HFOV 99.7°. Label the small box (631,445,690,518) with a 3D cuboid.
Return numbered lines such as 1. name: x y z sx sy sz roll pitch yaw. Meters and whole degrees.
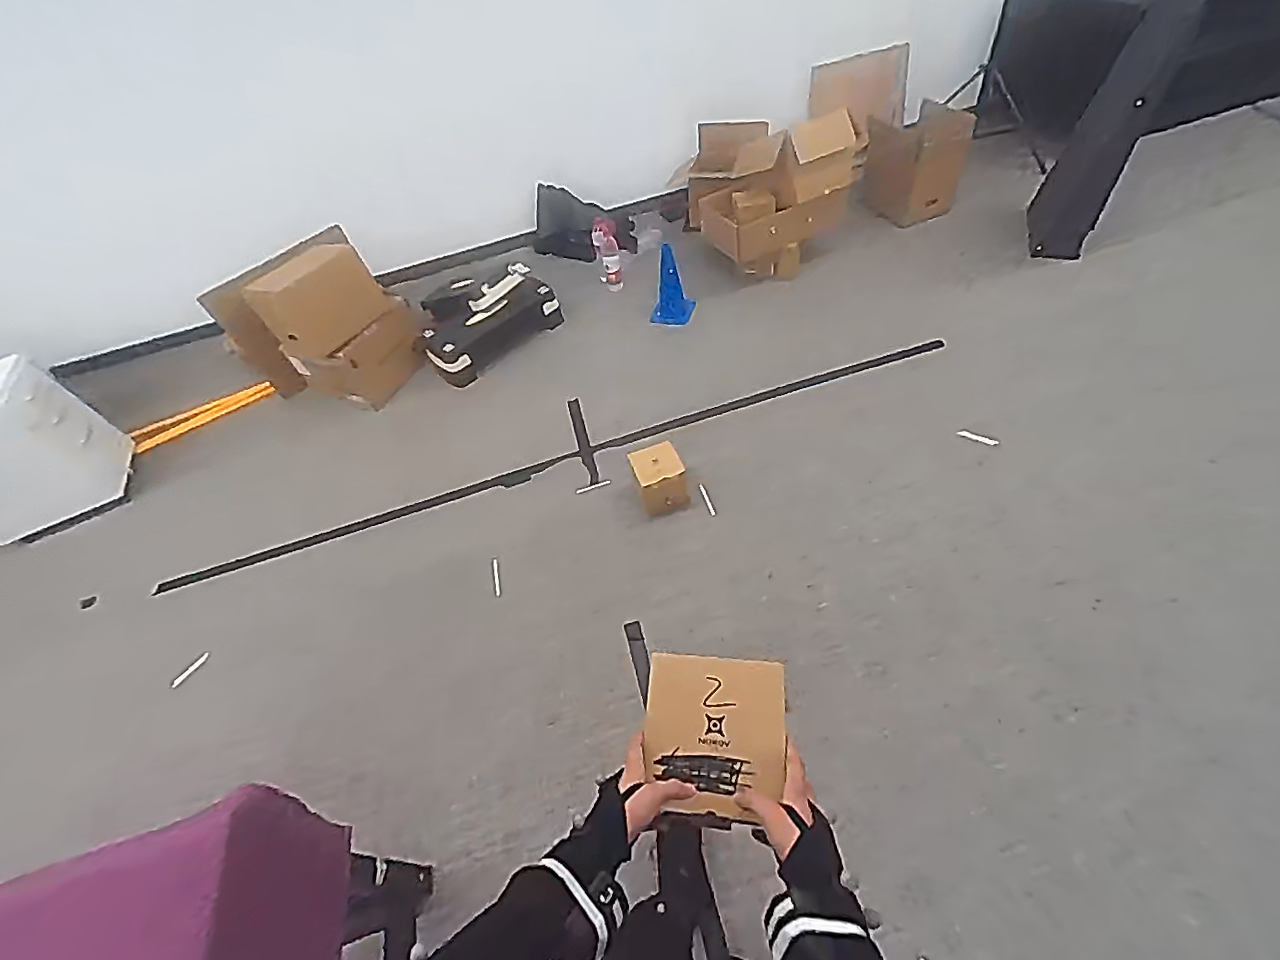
1. small box: 0.076 0.009 1.970 0.168 0.176 0.179 -19 51 -5
